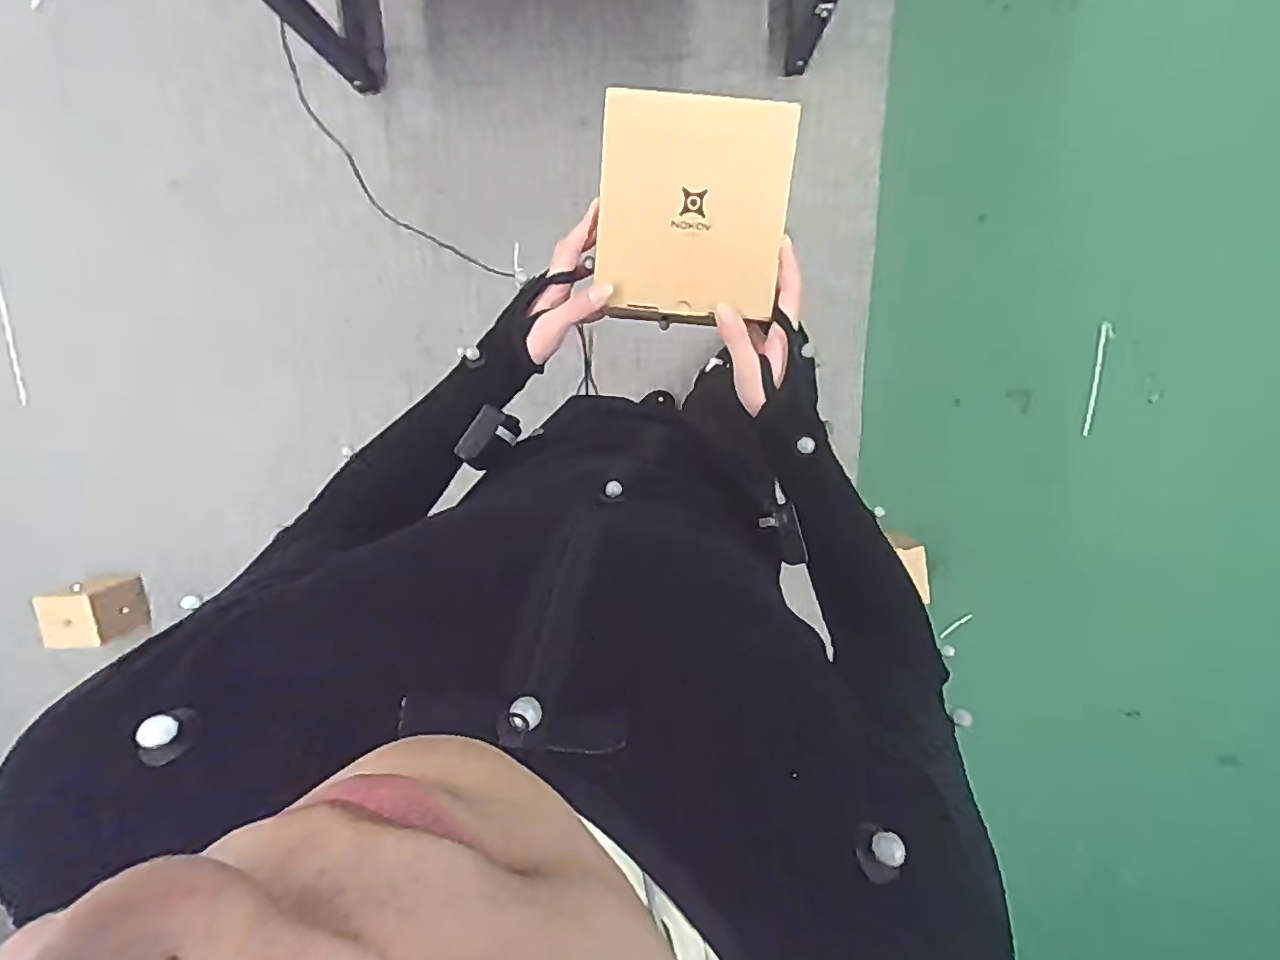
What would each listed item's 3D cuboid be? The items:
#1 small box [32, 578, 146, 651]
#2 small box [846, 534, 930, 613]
[{"bbox_3d":[-1.683,0.410,1.668,0.179,0.176,0.168,-3,100,2],"label":"small box"},{"bbox_3d":[0.715,0.263,1.573,0.168,0.176,0.179,-10,100,4],"label":"small box"}]
